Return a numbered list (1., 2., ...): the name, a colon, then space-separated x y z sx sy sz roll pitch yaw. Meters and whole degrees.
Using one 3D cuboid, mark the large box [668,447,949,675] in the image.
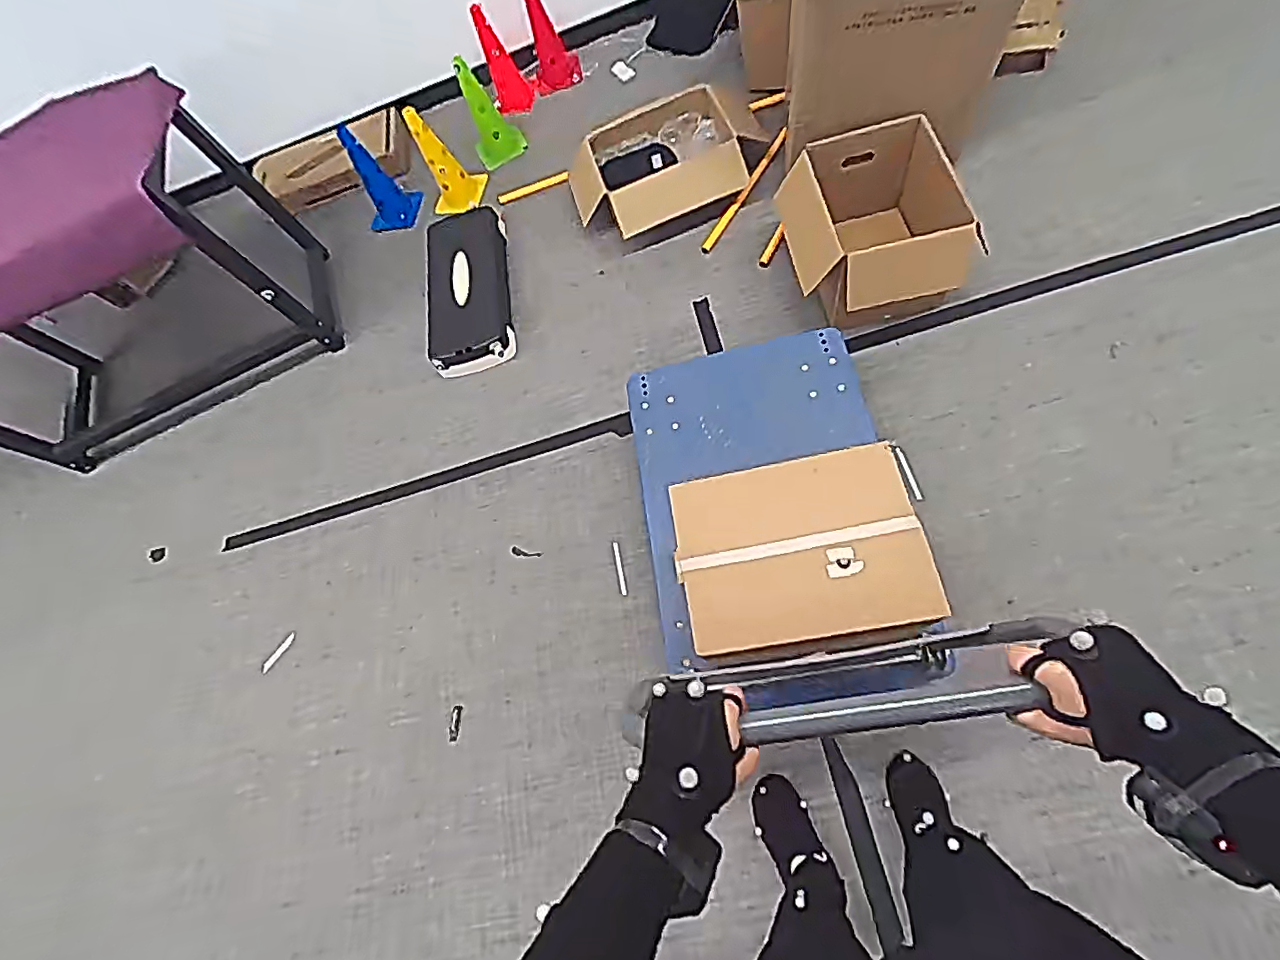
1. large box: 0.293 0.178 1.049 0.408 0.320 0.320 -12 66 7
